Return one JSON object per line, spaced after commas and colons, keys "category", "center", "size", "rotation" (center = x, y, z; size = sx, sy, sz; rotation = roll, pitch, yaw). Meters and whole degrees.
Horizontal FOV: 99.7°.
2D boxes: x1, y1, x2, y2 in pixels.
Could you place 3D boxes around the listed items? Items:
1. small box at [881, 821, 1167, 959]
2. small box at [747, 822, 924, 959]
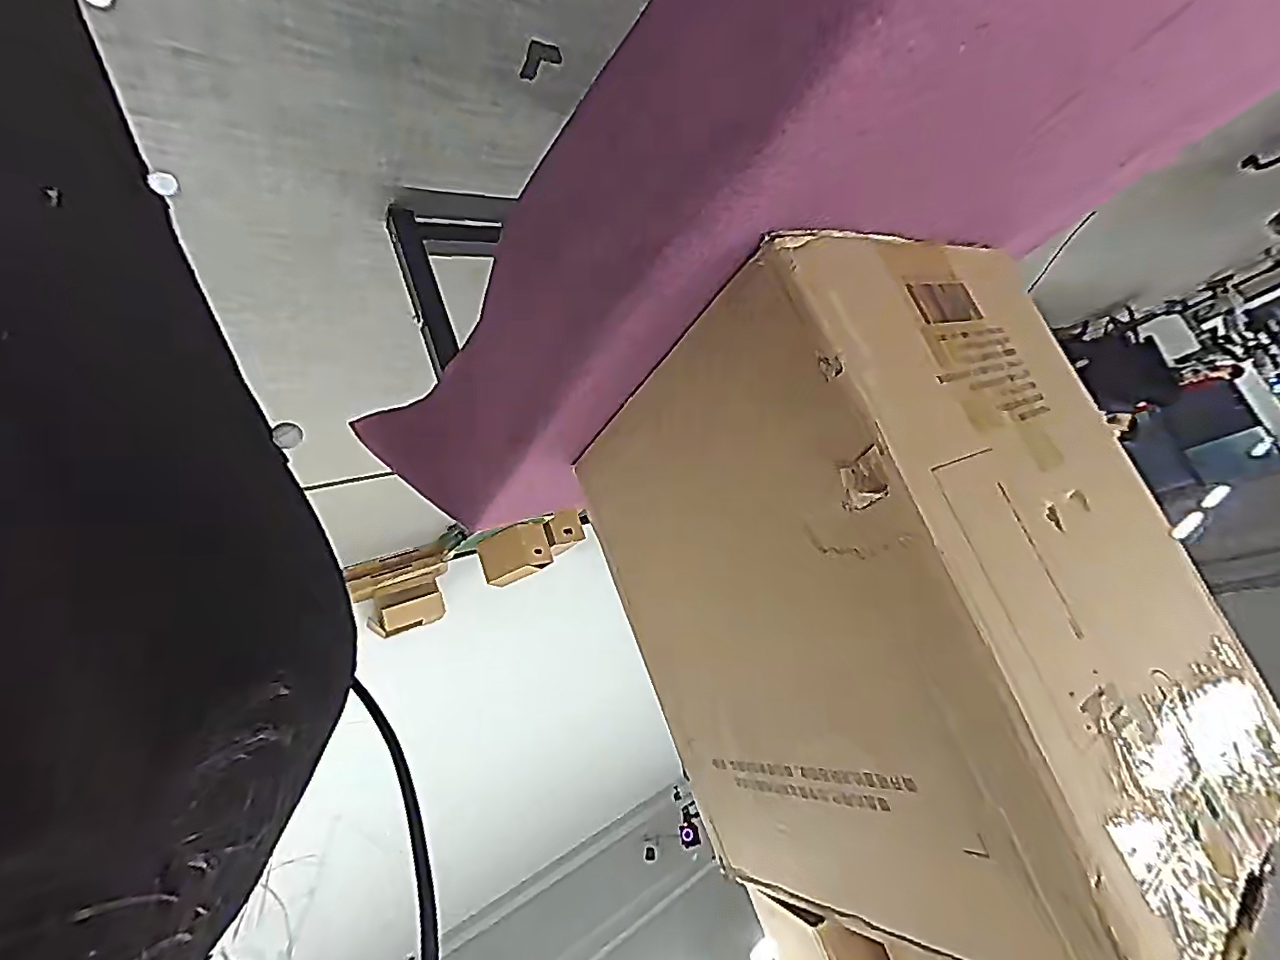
{"category": "small box", "center": [0.373, 0.469, 0.521], "size": [0.179, 0.176, 0.168], "rotation": [-16, 169, -31]}
{"category": "small box", "center": [0.265, 0.546, 0.658], "size": [0.179, 0.176, 0.168], "rotation": [-18, 166, -24]}
